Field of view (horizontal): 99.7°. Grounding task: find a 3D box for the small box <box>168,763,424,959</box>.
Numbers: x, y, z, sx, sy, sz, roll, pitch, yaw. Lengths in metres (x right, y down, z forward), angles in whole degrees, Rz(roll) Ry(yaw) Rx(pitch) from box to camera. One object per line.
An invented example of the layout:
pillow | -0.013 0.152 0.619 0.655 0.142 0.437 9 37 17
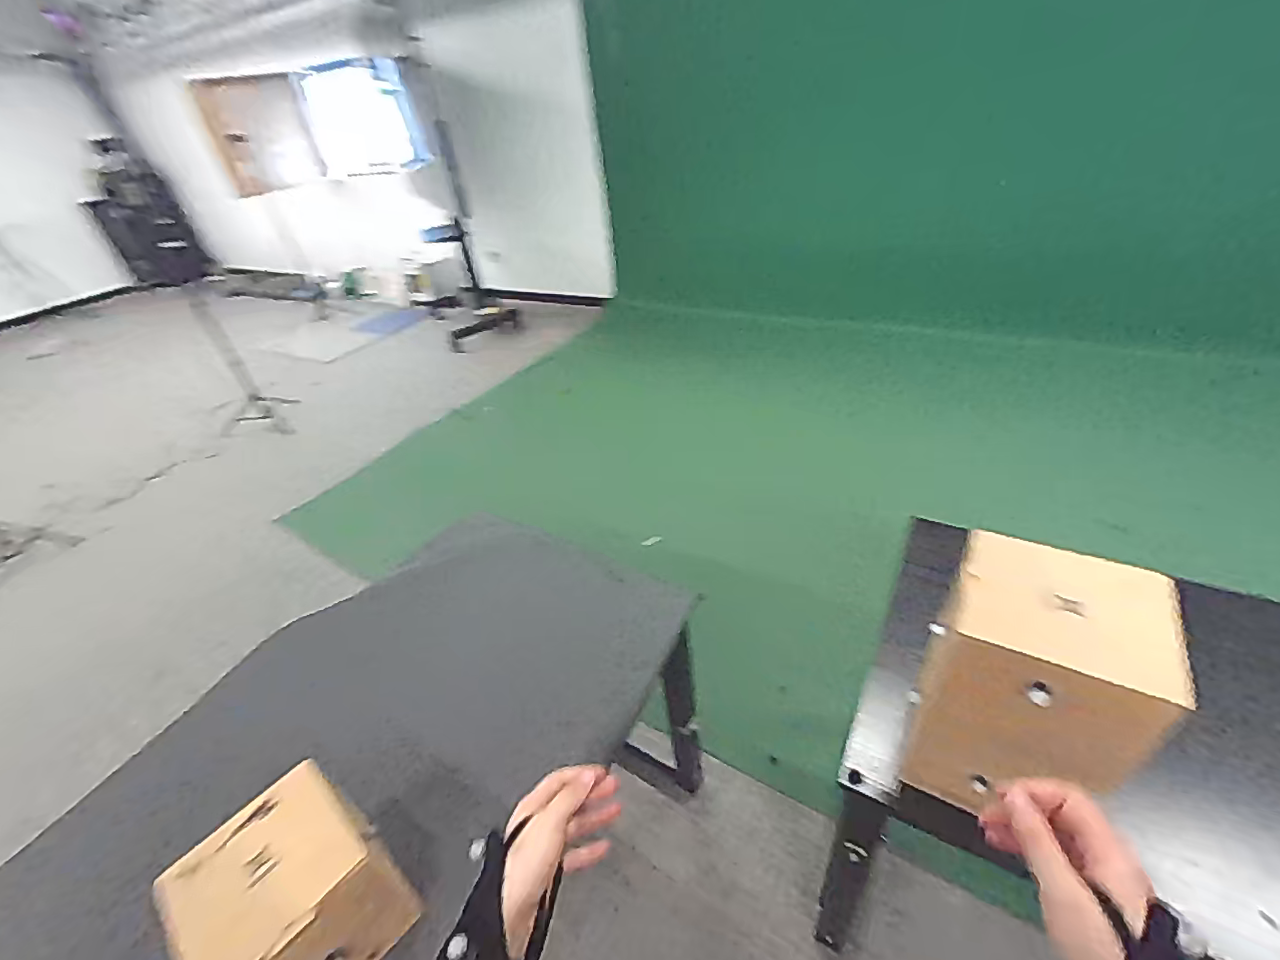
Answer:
small box | -0.384 0.482 0.625 0.179 0.176 0.168 23 47 37

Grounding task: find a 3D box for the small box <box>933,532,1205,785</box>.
small box | 0.437 0.188 0.577 0.179 0.176 0.168 15 43 29

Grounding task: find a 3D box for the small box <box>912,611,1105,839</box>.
small box | 0.459 0.307 0.687 0.168 0.176 0.179 16 42 28
